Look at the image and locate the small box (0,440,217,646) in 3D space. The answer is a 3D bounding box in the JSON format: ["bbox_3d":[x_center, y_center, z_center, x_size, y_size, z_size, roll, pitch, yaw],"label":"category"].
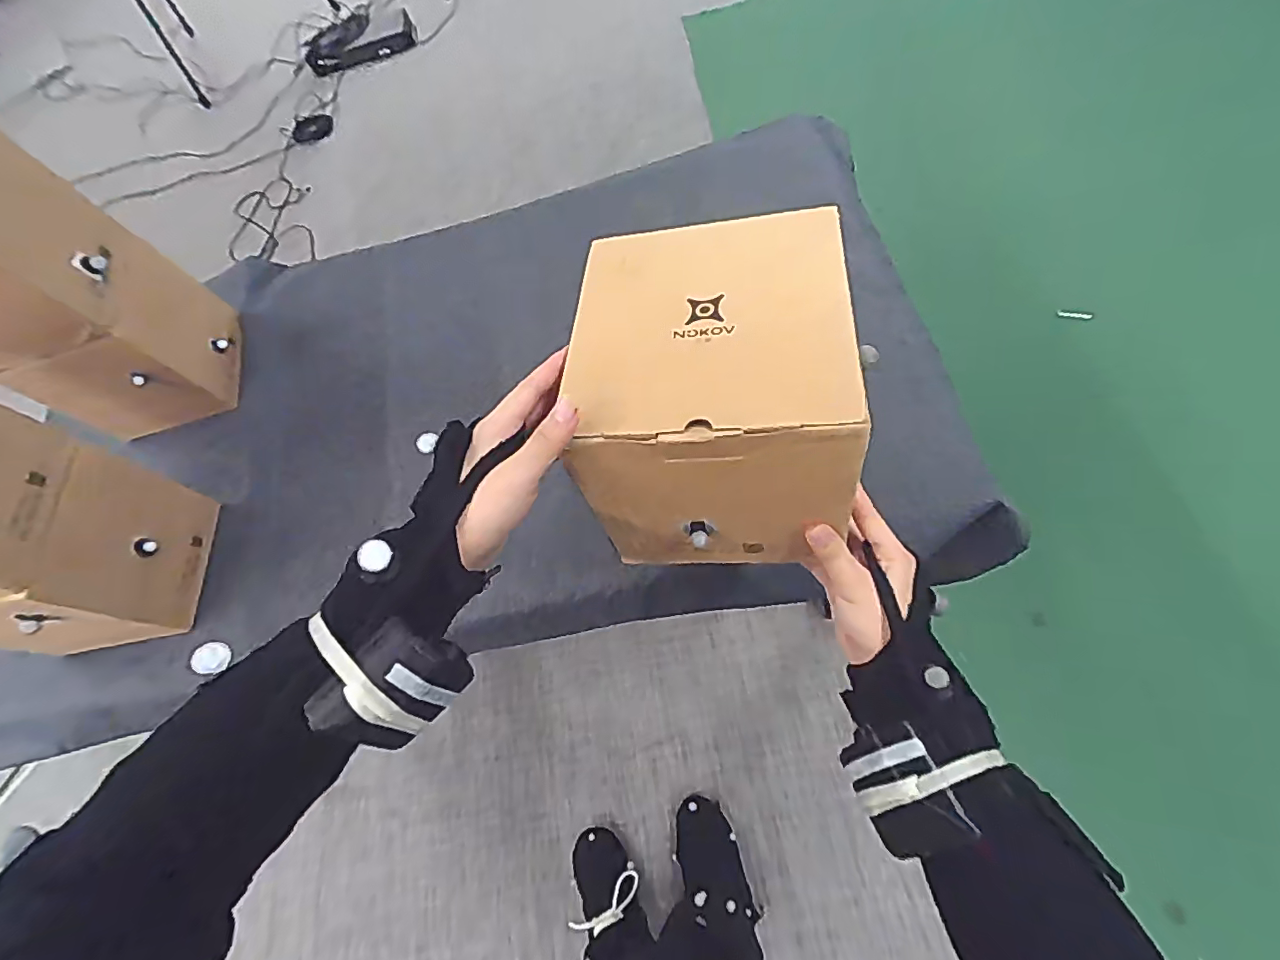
[{"bbox_3d":[-0.623,0.079,0.597,0.179,0.176,0.168,-11,64,6],"label":"small box"}]

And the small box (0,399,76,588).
[{"bbox_3d":[-0.655,0.009,0.452,0.179,0.176,0.168,-15,64,5],"label":"small box"}]
